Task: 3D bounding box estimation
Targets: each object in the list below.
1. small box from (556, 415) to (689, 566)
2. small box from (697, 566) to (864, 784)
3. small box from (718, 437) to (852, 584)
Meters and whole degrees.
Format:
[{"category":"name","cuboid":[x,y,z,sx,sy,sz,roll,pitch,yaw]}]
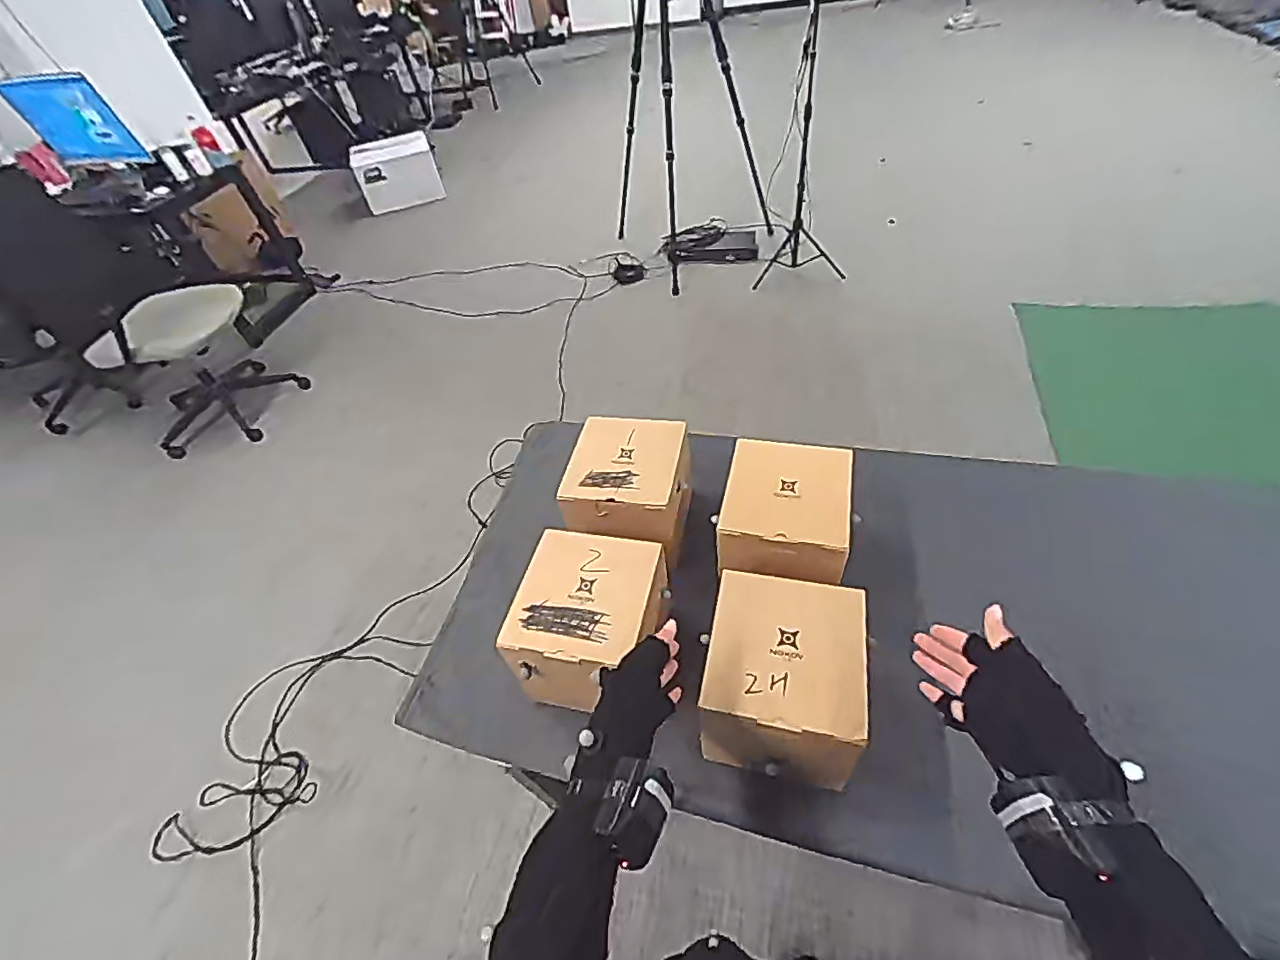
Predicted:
[{"category":"small box","cuboid":[-0.015,0.019,0.871,0.168,0.176,0.179,5,50,13]},{"category":"small box","cuboid":[0.166,0.232,0.649,0.168,0.176,0.179,7,49,15]},{"category":"small box","cuboid":[0.209,0.063,0.797,0.168,0.176,0.179,7,52,15]}]
